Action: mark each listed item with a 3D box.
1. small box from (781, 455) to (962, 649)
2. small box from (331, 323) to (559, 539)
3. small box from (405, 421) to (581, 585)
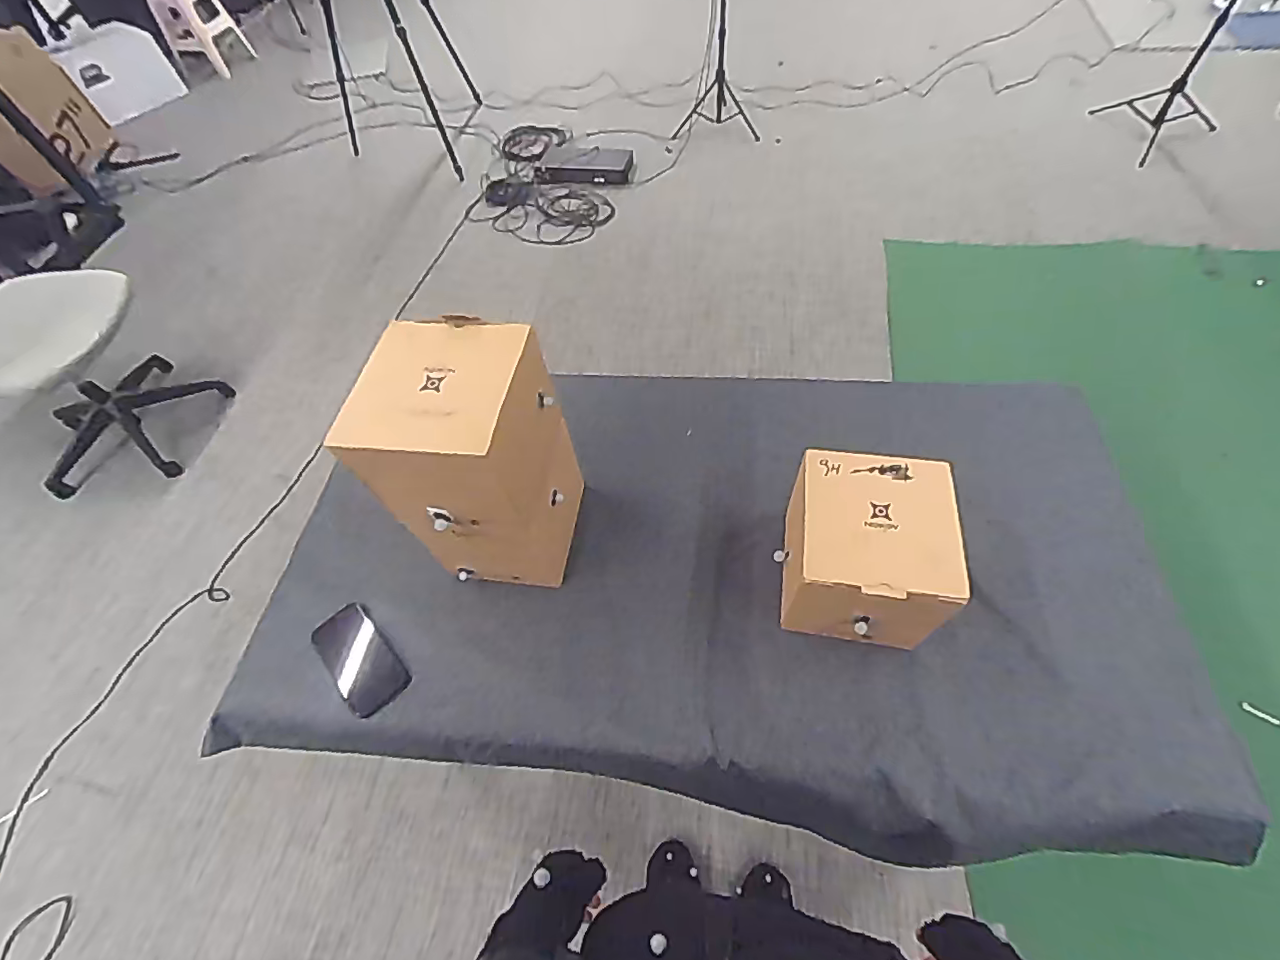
[{"bbox_3d":[0.270,0.094,0.668,0.168,0.176,0.179,6,58,10],"label":"small box"},{"bbox_3d":[-0.197,-0.053,0.613,0.168,0.176,0.179,4,58,8],"label":"small box"},{"bbox_3d":[-0.186,0.031,0.751,0.168,0.176,0.179,5,56,8],"label":"small box"}]
